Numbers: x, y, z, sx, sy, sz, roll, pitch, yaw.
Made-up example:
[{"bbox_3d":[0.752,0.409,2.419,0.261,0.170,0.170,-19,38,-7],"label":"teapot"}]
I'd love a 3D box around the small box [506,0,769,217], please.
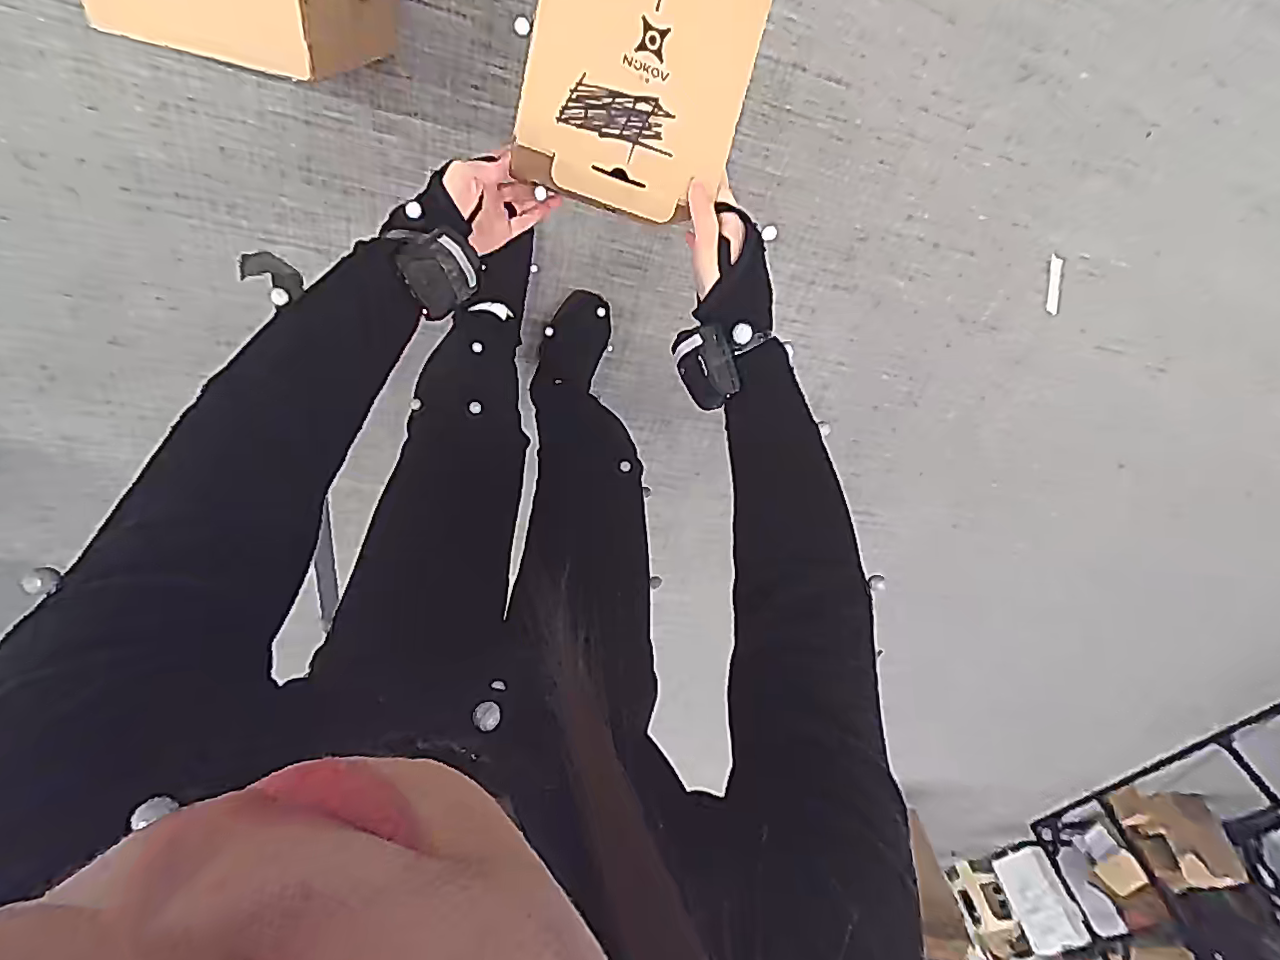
[{"bbox_3d":[-0.015,-0.346,0.465,0.168,0.176,0.179,11,106,-18],"label":"small box"}]

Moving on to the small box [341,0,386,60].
[{"bbox_3d":[-0.386,-0.597,0.594,0.179,0.176,0.168,8,131,-15],"label":"small box"}]

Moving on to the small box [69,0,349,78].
[{"bbox_3d":[-0.372,-0.485,0.475,0.179,0.176,0.168,7,130,-13],"label":"small box"}]
